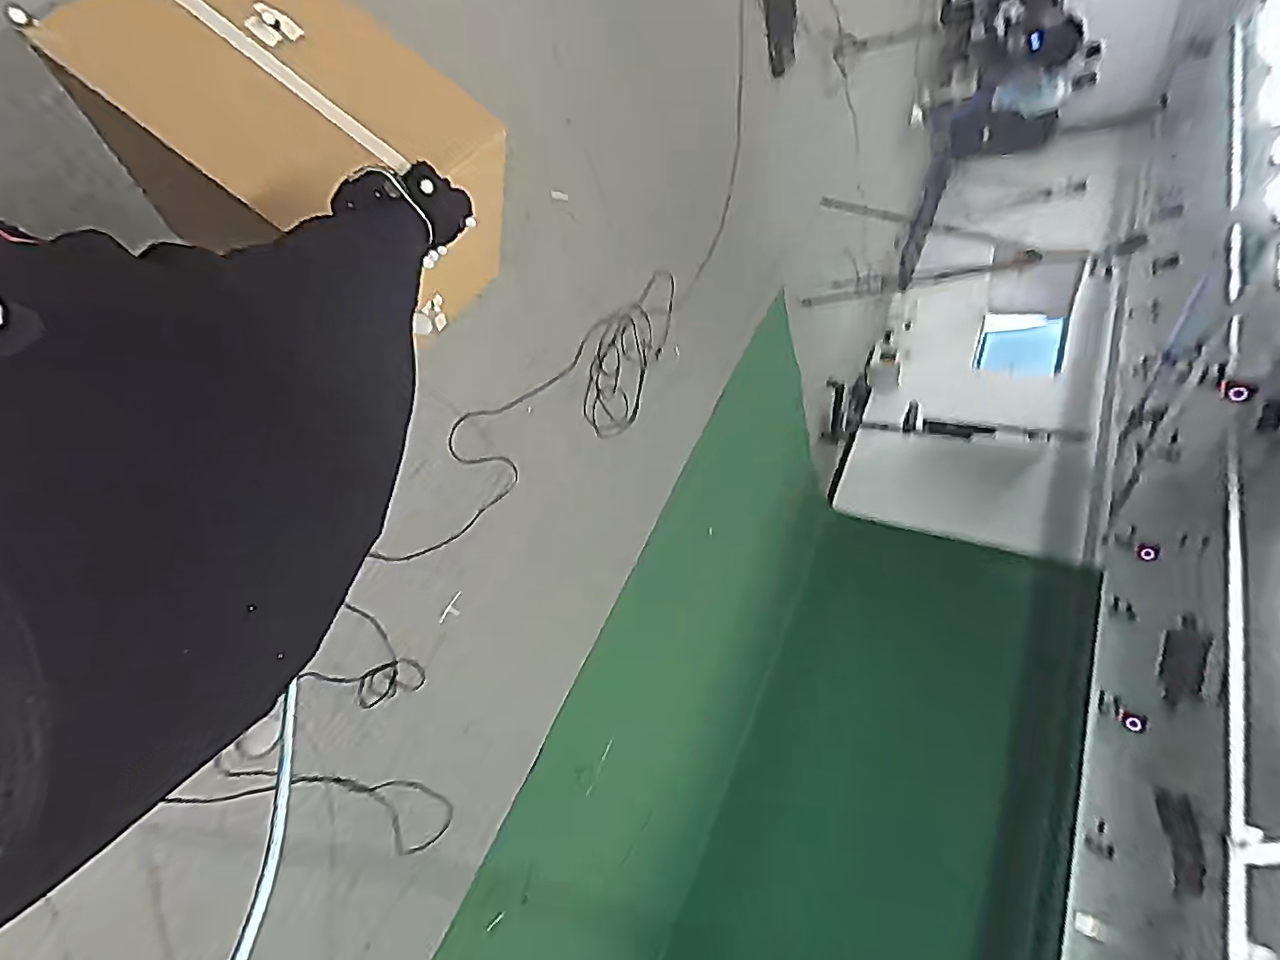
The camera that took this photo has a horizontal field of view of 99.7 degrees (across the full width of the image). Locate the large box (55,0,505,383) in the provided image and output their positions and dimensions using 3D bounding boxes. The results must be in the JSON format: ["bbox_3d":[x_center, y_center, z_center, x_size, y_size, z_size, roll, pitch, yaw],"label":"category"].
[{"bbox_3d":[-0.456,-0.424,0.809,0.320,0.408,0.320,-54,-178,-23],"label":"large box"}]
